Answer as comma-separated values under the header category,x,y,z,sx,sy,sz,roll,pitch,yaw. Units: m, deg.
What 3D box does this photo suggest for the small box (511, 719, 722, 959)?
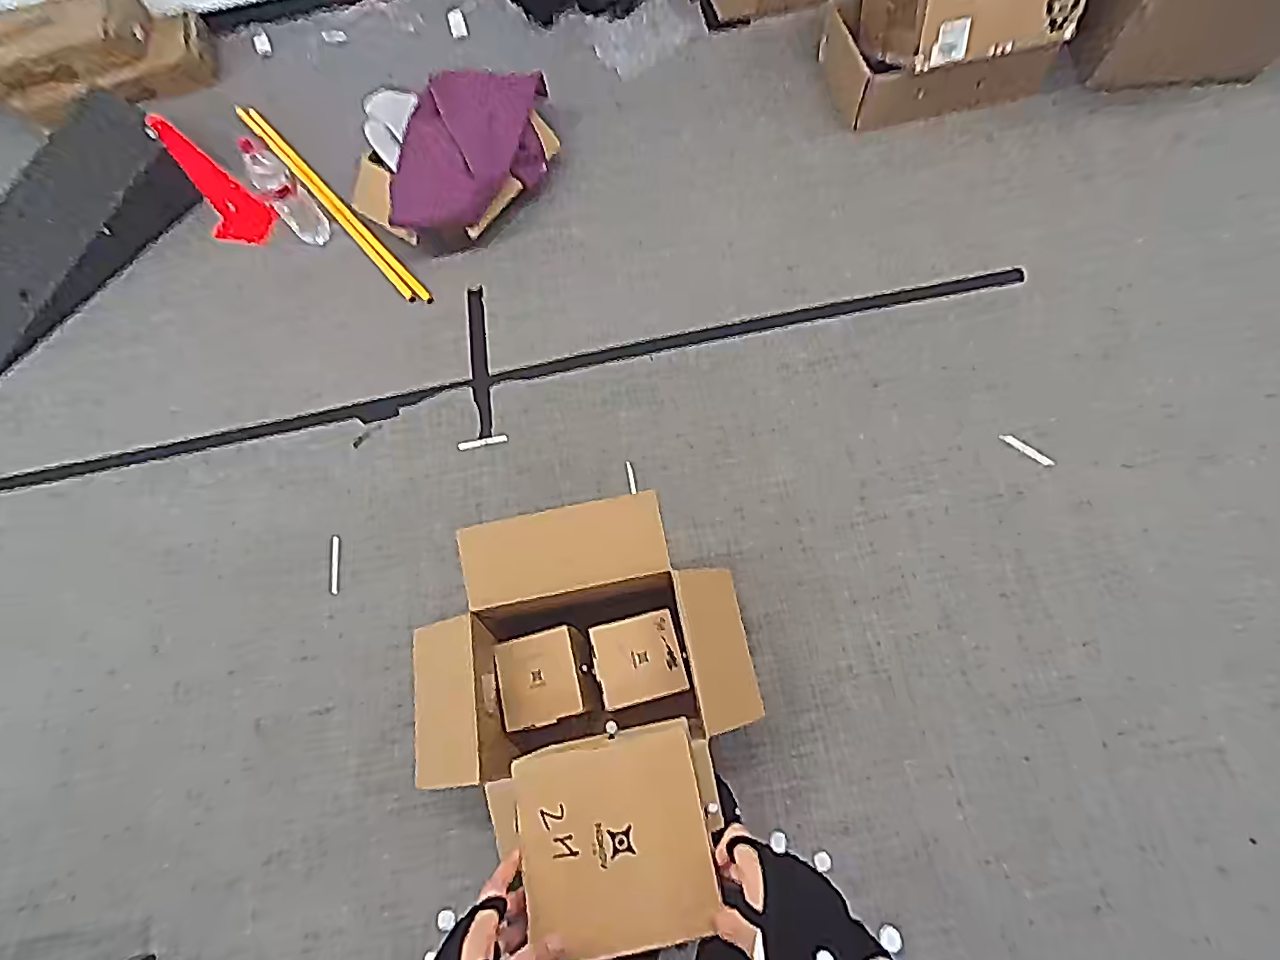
category,x,y,z,sx,sy,sz,roll,pitch,yaw
small box,-0.021,0.361,0.576,0.179,0.176,0.168,-13,68,1
